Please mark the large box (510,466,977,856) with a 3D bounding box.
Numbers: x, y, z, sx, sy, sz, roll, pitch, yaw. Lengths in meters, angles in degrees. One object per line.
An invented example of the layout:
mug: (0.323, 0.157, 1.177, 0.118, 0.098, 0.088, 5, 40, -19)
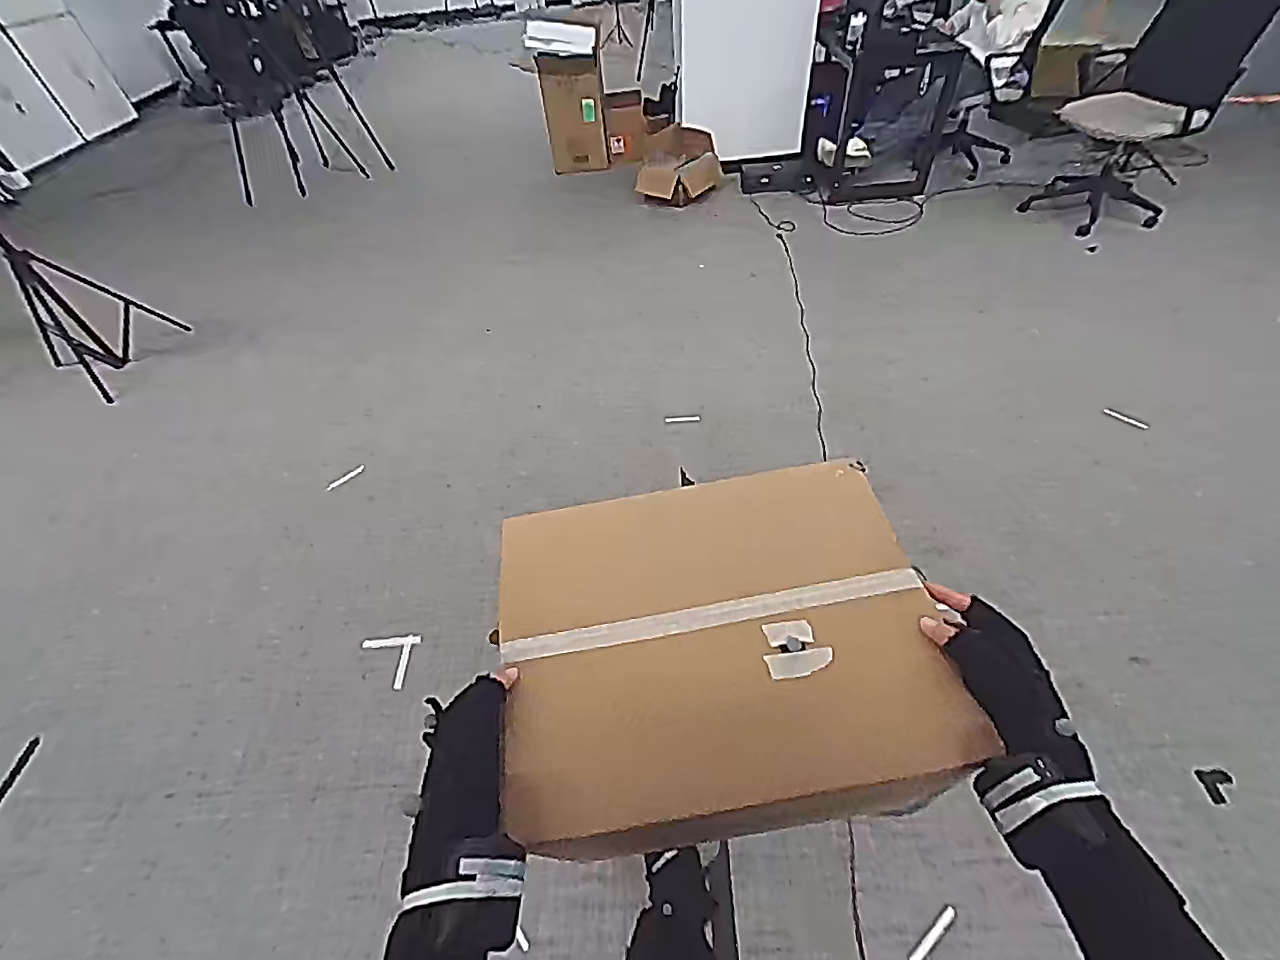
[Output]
large box: (0.081, 0.228, 0.656, 0.408, 0.320, 0.320, -10, 53, -1)
